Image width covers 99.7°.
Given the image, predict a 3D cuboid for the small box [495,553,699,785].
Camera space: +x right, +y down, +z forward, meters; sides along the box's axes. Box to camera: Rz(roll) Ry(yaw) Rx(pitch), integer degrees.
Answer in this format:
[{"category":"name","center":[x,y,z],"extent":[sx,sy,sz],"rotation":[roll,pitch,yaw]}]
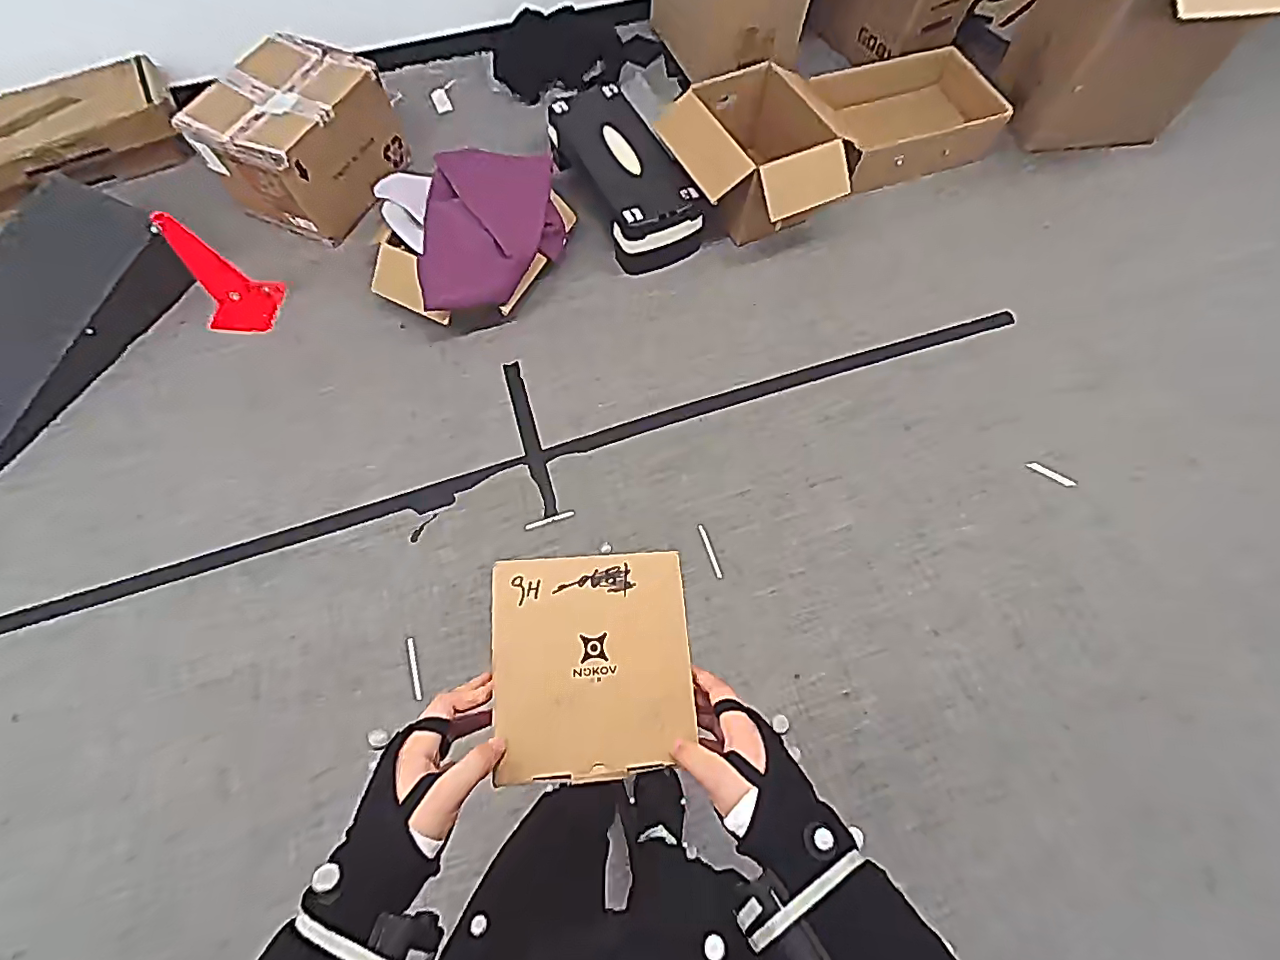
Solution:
[{"category":"small box","center":[-0.045,0.174,0.528],"extent":[0.168,0.176,0.179],"rotation":[-3,73,-8]}]
